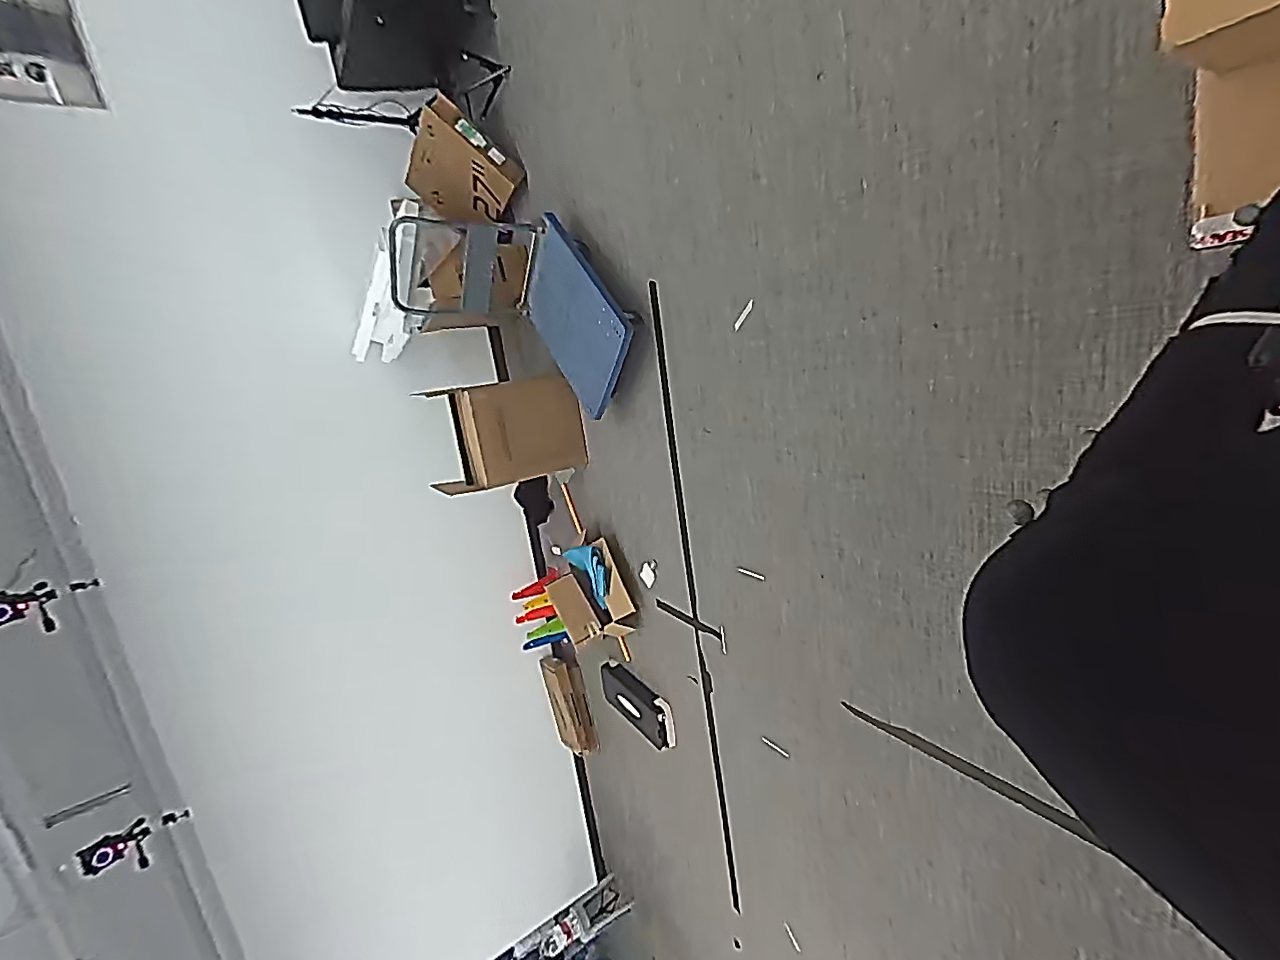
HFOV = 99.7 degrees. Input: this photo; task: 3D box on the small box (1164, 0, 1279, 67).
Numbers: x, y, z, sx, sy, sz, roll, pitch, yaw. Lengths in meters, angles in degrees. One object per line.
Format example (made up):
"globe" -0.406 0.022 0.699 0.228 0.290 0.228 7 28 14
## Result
"small box" 0.602 -0.496 0.465 0.179 0.176 0.168 13 115 59
